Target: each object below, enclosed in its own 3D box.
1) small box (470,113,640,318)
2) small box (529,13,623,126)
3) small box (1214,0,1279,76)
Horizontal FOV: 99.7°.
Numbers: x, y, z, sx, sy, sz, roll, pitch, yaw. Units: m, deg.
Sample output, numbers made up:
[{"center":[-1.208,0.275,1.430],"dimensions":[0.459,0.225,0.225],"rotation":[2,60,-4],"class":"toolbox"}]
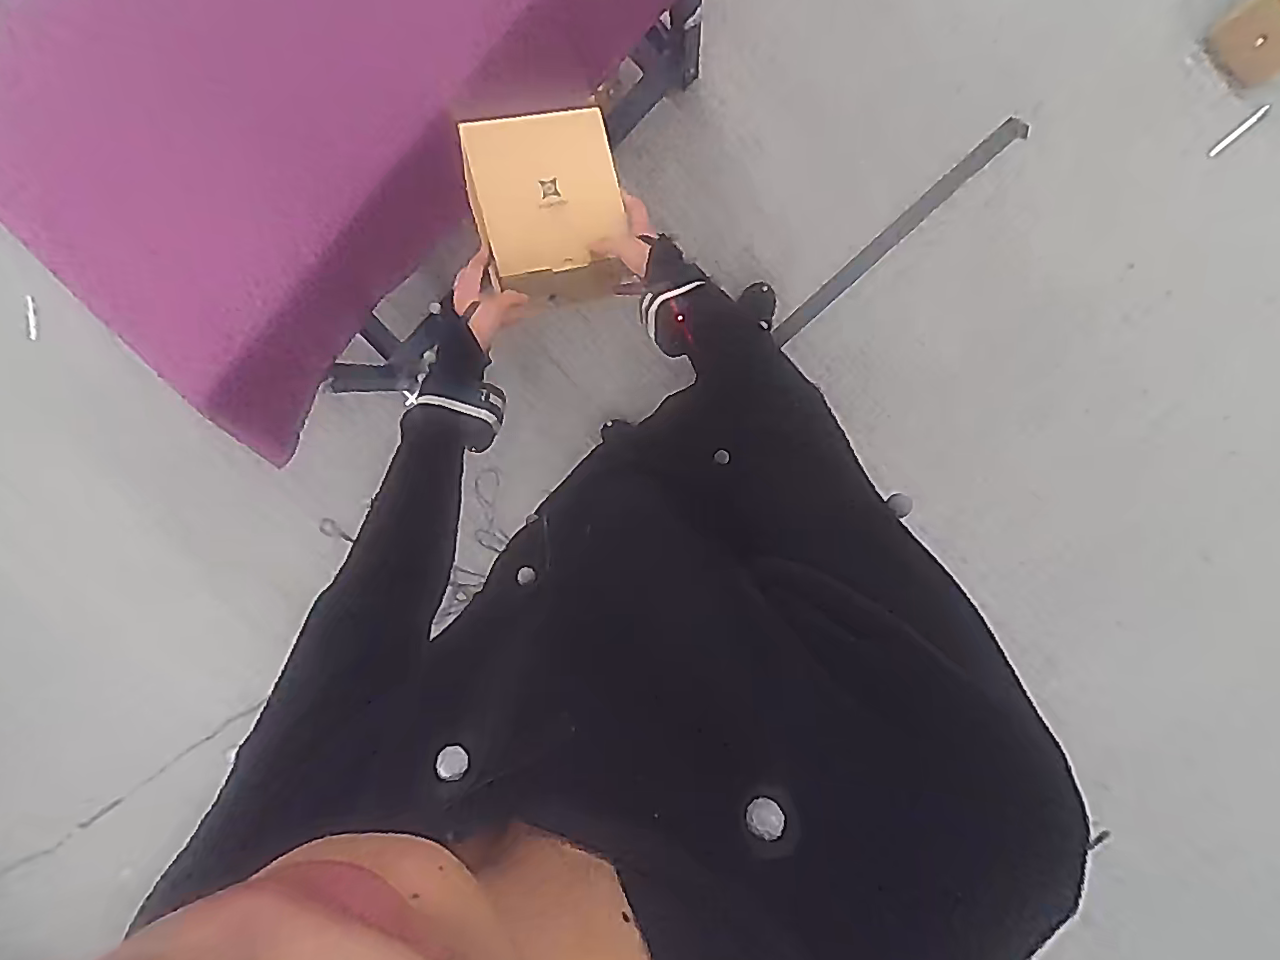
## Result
[{"center":[-0.114,-0.331,0.703],"dimensions":[0.168,0.176,0.179],"rotation":[-15,95,-12],"class":"small box"},{"center":[-0.156,-1.015,1.365],"dimensions":[0.179,0.176,0.168],"rotation":[18,102,3],"class":"small box"},{"center":[1.476,-1.054,1.204],"dimensions":[0.179,0.176,0.168],"rotation":[44,101,-3],"class":"small box"}]
